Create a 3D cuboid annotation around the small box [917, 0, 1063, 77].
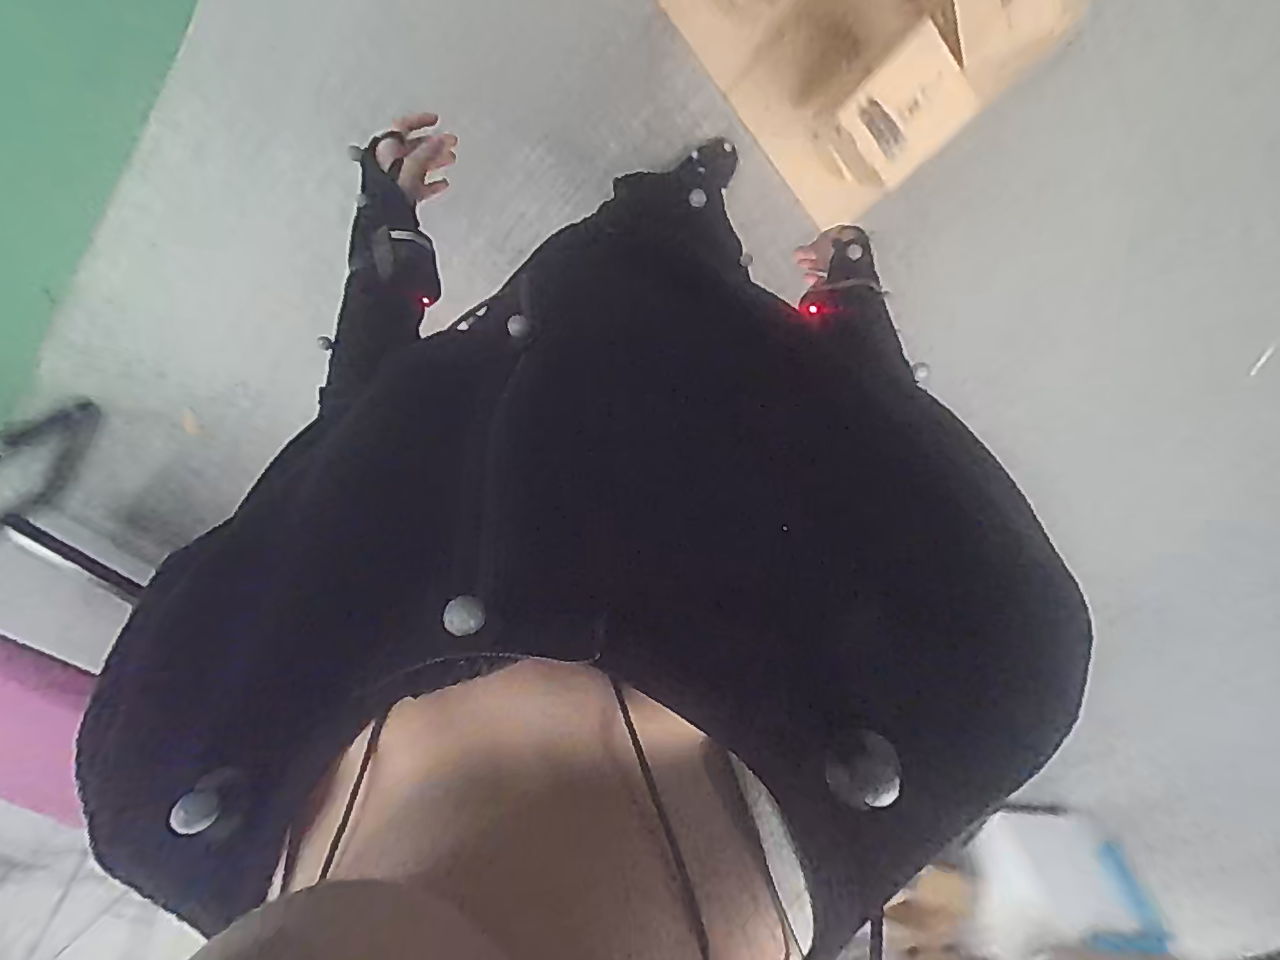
[{"bbox_3d":[0.632,-0.879,0.992,0.168,0.176,0.179,-22,121,15],"label":"small box"}]
